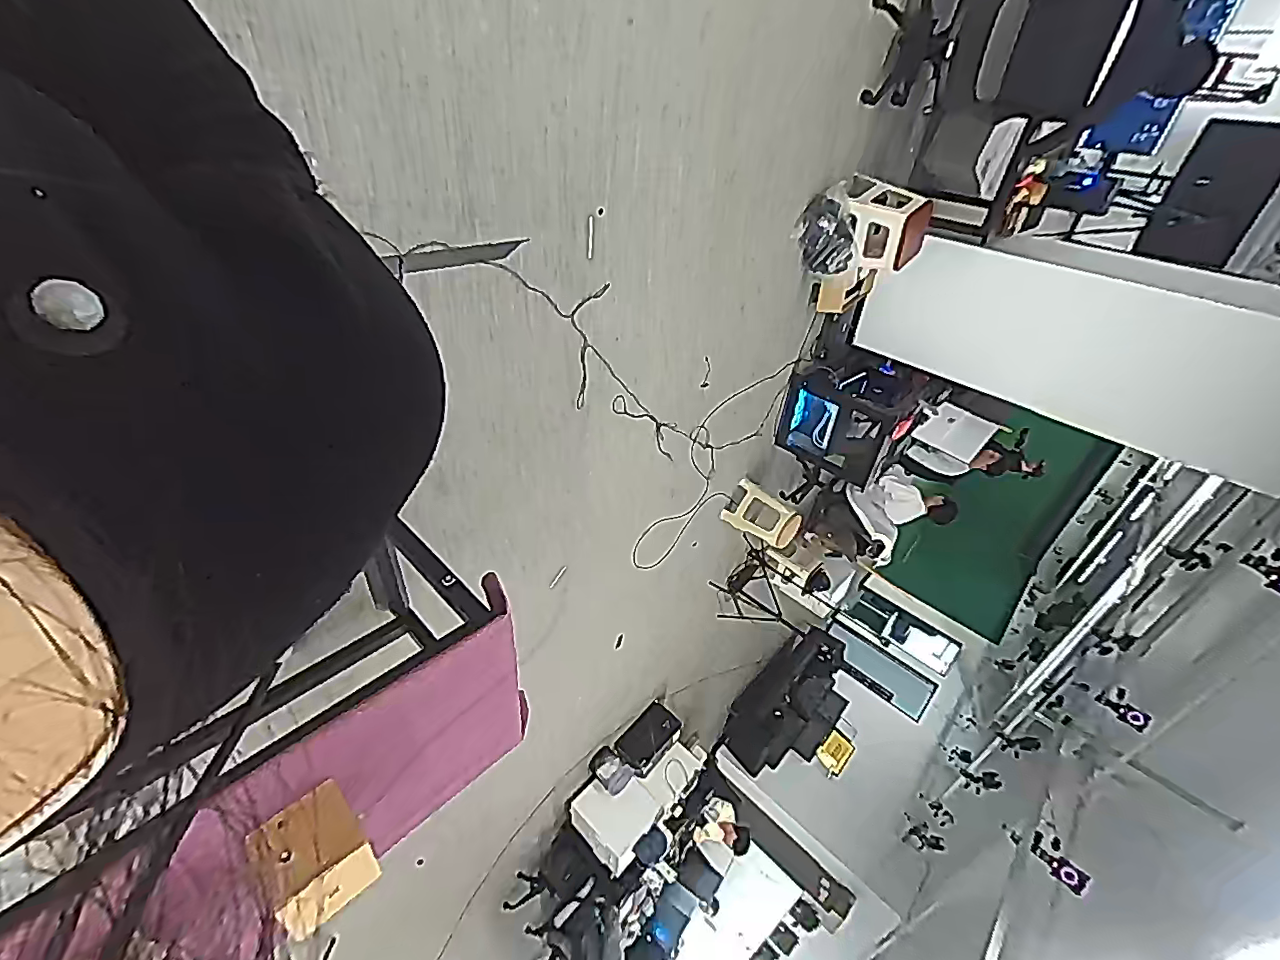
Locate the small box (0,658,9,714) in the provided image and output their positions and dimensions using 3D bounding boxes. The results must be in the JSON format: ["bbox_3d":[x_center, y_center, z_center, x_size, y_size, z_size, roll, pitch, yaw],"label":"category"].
[{"bbox_3d":[-1.426,0.394,1.089,0.179,0.176,0.168,-14,128,-51],"label":"small box"}]

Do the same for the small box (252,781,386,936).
[{"bbox_3d":[-0.645,0.752,1.091,0.168,0.176,0.179,-28,140,-38],"label":"small box"}]

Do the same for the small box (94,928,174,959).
[{"bbox_3d":[-0.884,0.912,0.894,0.179,0.176,0.168,-29,140,-40],"label":"small box"}]
